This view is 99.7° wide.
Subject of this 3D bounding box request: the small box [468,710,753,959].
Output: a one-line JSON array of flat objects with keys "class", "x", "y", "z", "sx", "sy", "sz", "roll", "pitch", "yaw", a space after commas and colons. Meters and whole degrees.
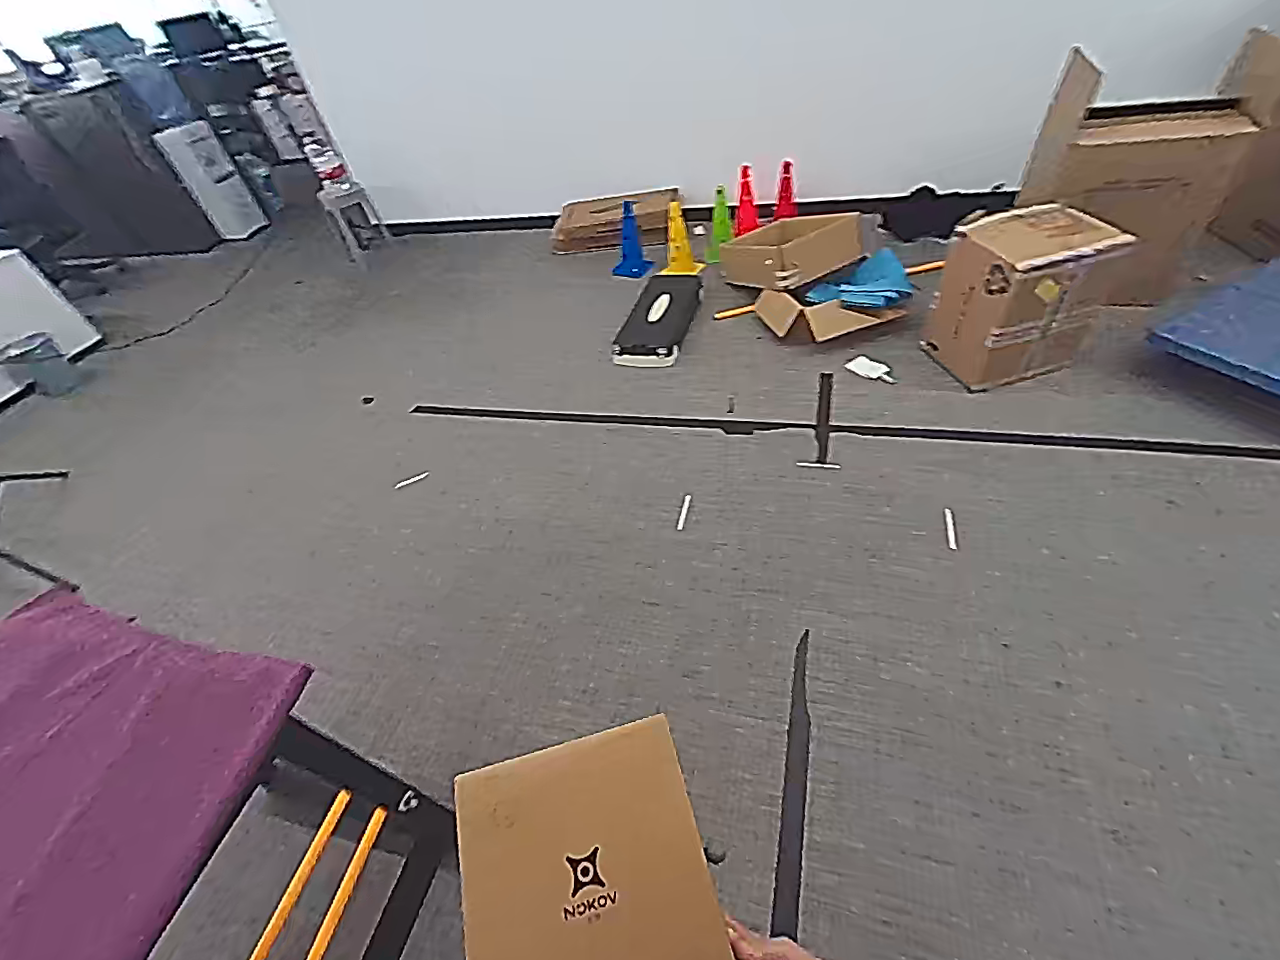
[{"class": "small box", "x": -0.025, "y": 0.307, "z": 0.421, "sx": 0.168, "sy": 0.176, "sz": 0.179, "roll": -14, "pitch": 56, "yaw": -8}]
